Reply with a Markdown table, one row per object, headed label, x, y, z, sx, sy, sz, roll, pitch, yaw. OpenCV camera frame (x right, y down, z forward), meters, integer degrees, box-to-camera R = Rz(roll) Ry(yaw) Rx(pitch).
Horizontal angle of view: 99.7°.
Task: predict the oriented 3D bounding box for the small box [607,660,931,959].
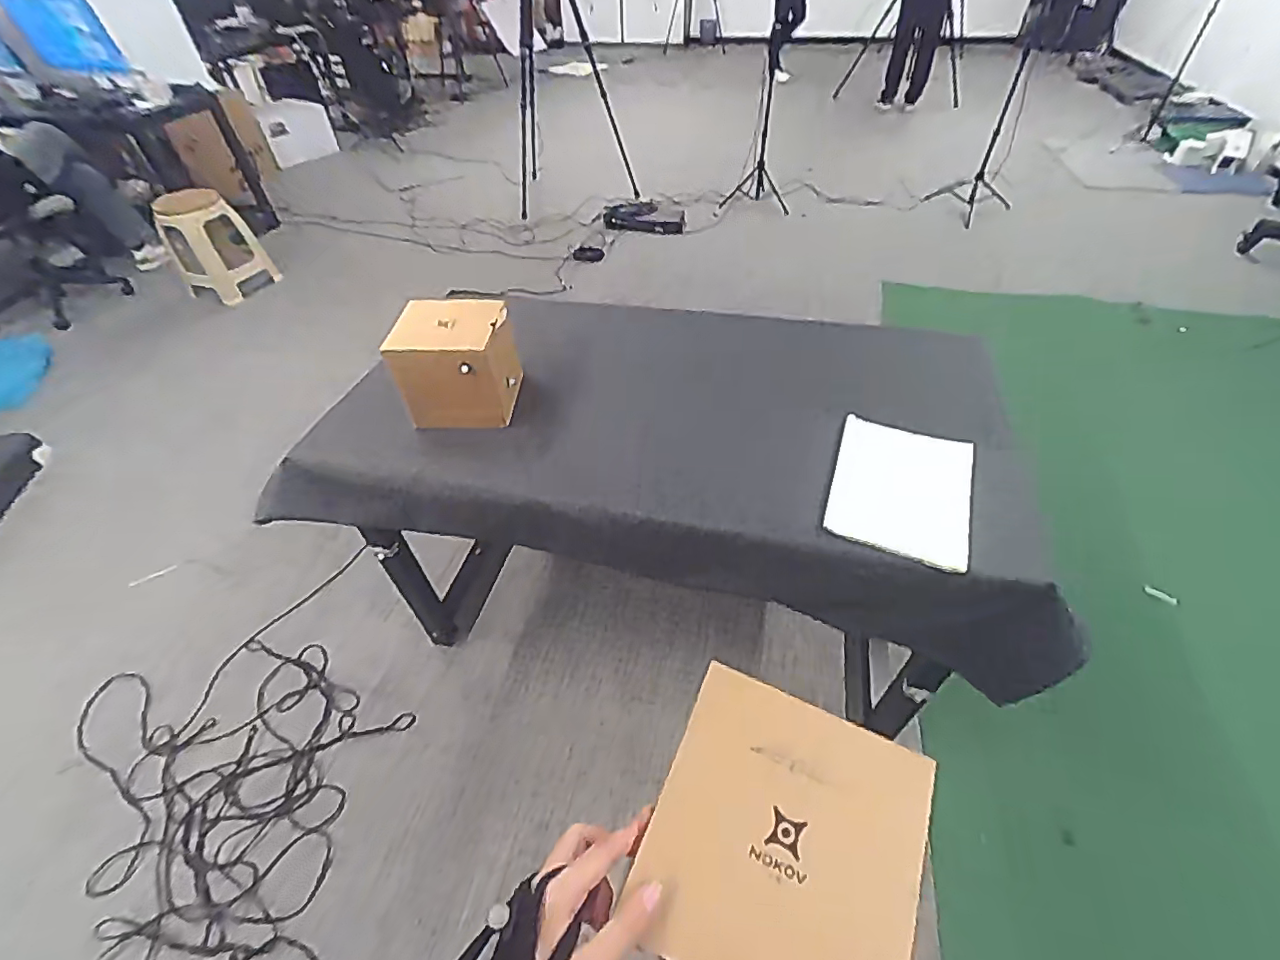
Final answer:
| label | x | y | z | sx | sy | sz | roll | pitch | yaw |
| --- | --- | --- | --- | --- | --- | --- | --- | --- | --- |
| small box | 0.088 | 0.273 | 0.407 | 0.168 | 0.176 | 0.179 | 21 | 56 | 13 |

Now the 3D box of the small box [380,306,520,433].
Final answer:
| label | x | y | z | sx | sy | sz | roll | pitch | yaw |
| --- | --- | --- | --- | --- | --- | --- | --- | --- | --- |
| small box | -0.329 | -0.198 | 0.977 | 0.179 | 0.176 | 0.168 | 0 | 45 | 1 |
